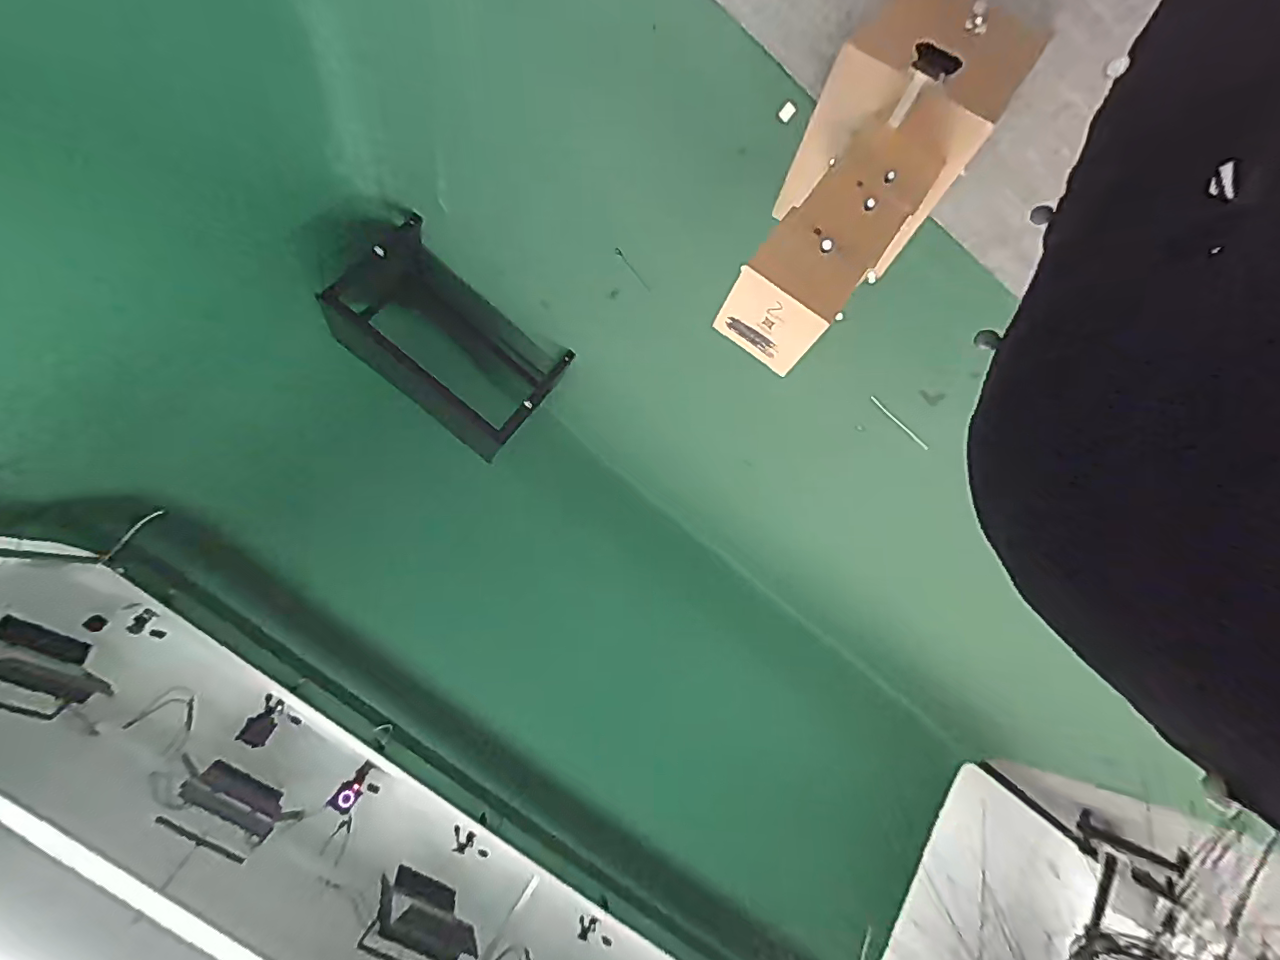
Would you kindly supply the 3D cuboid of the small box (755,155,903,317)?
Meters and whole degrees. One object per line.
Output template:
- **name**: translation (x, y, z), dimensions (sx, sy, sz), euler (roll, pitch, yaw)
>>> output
- **small box**: translation (0.352, -0.451, 1.010), dimensions (0.168, 0.176, 0.179), euler (36, 160, 0)

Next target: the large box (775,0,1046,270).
- **large box**: translation (0.554, -0.766, 1.176), dimensions (0.320, 0.320, 0.408), euler (35, 162, 7)

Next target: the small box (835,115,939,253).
- **small box**: translation (0.447, -0.569, 1.067), dimensions (0.179, 0.176, 0.168), euler (36, 160, 1)
